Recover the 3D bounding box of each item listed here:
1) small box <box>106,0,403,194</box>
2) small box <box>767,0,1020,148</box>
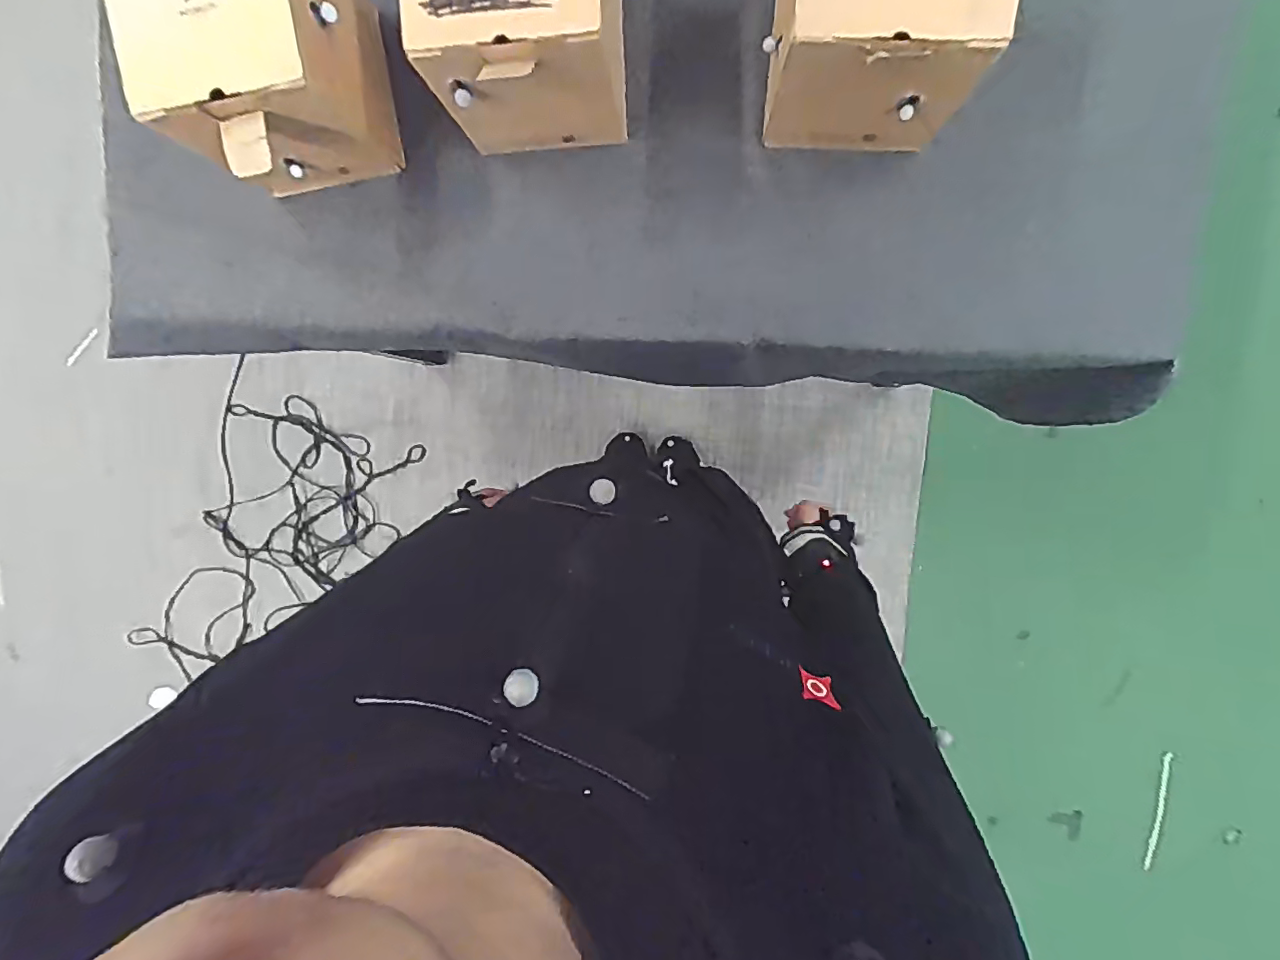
[{"bbox_3d":[-0.362,-0.416,0.531,0.168,0.176,0.179,-8,96,5],"label":"small box"},{"bbox_3d":[0.213,-0.427,0.483,0.168,0.176,0.179,4,95,3],"label":"small box"}]
